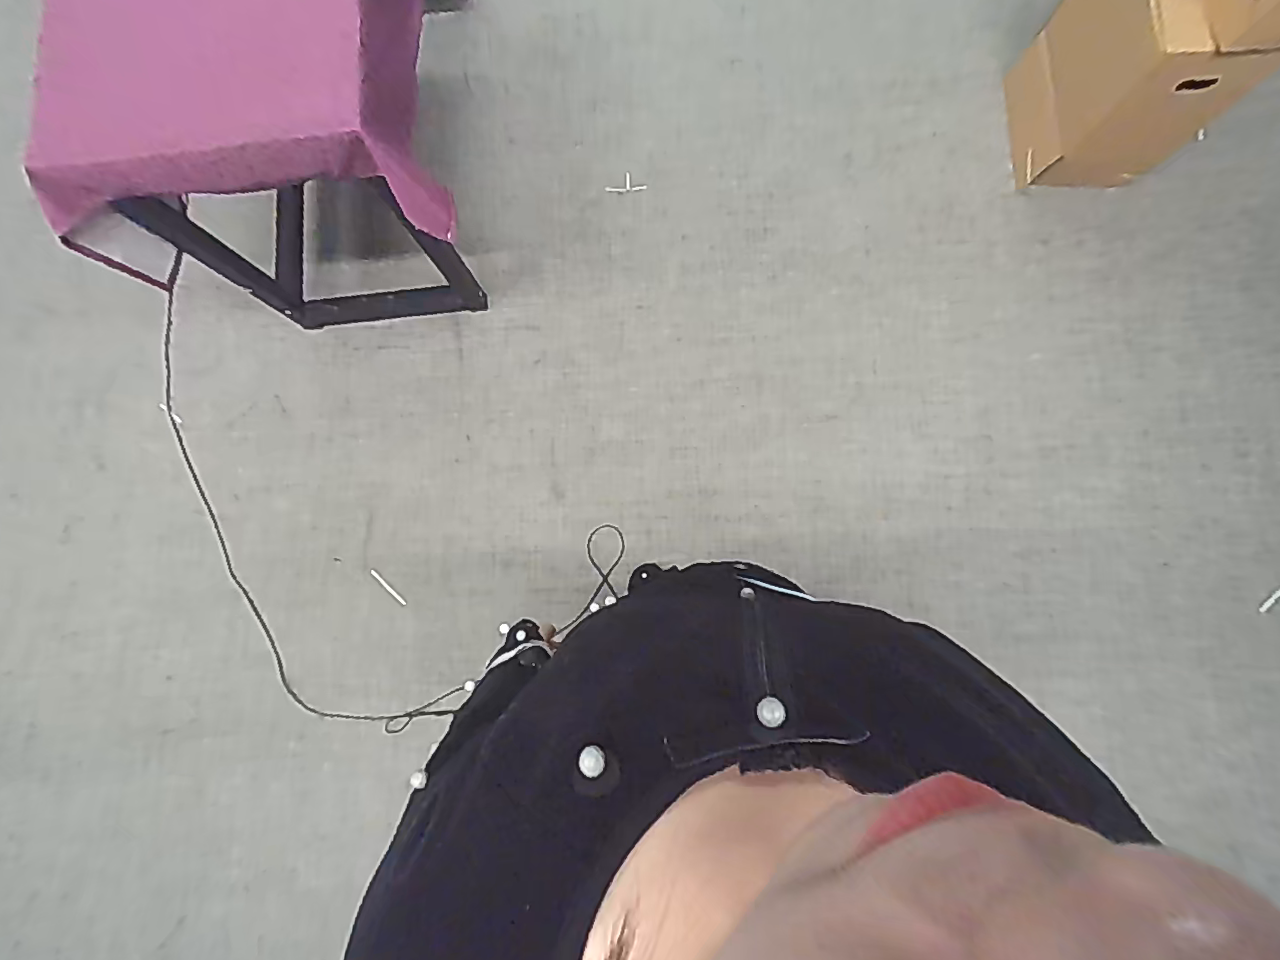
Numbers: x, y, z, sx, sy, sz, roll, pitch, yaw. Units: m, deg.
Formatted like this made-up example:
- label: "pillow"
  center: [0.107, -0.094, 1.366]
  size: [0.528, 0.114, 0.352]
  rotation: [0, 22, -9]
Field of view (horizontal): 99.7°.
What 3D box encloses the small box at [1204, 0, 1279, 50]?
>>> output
- label: "small box"
  center: [1.326, -1.022, 1.106]
  size: [0.168, 0.176, 0.179]
  rotation: [-3, 80, 1]
